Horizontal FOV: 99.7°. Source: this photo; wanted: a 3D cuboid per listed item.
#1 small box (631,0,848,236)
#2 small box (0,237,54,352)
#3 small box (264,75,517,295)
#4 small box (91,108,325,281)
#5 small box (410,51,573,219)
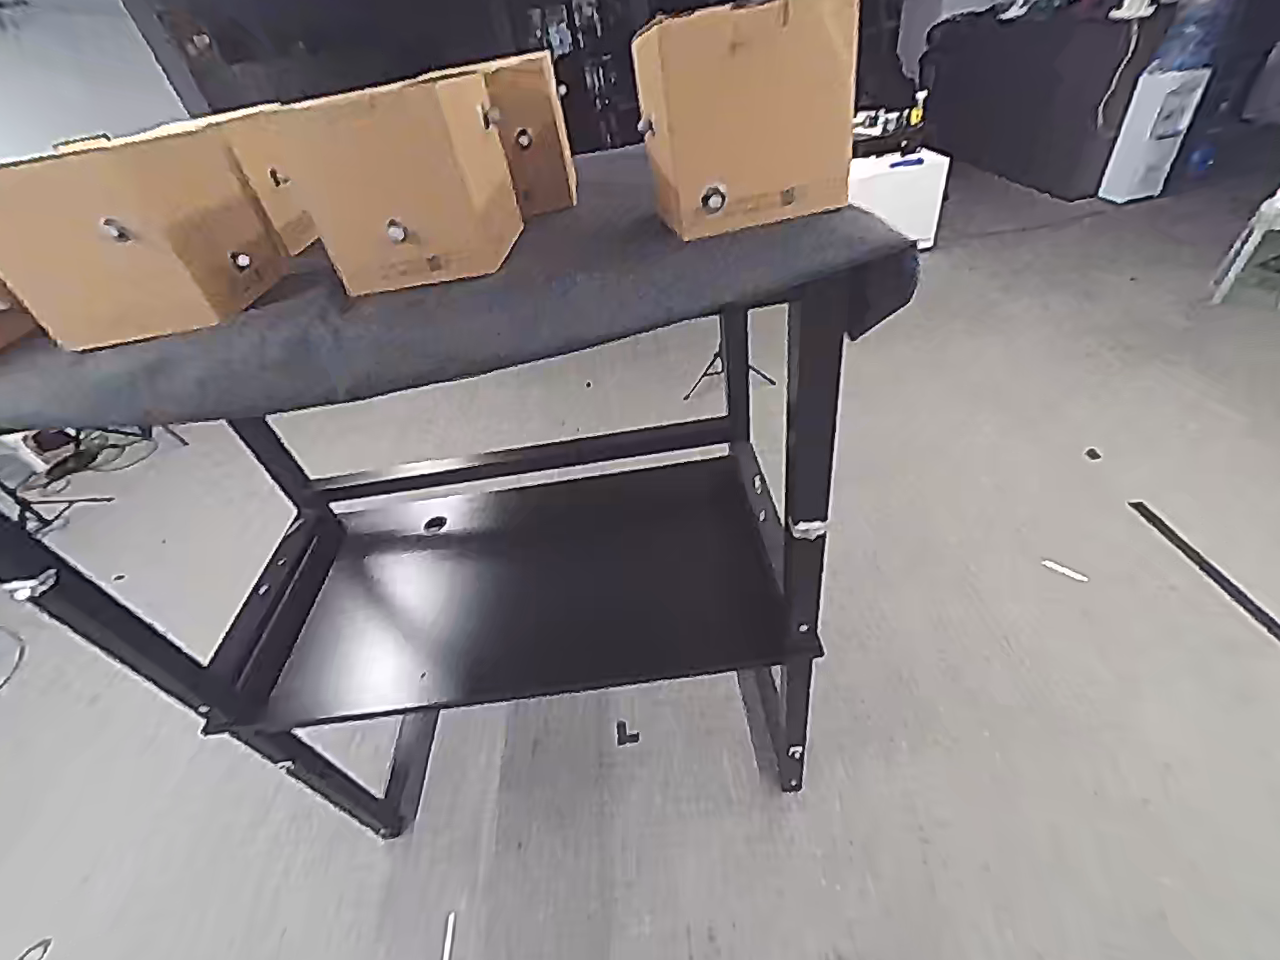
[{"bbox_3d":[0.094,-0.356,0.541,0.168,0.176,0.179,-12,35,-1],"label":"small box"},{"bbox_3d":[-0.845,-0.215,0.609,0.168,0.176,0.179,-10,40,1],"label":"small box"},{"bbox_3d":[-0.244,-0.319,0.587,0.168,0.176,0.179,-7,40,6],"label":"small box"},{"bbox_3d":[-0.586,-0.406,0.774,0.179,0.176,0.168,-9,41,4],"label":"small box"},{"bbox_3d":[-0.190,-0.469,0.749,0.168,0.176,0.179,-9,41,1],"label":"small box"}]
